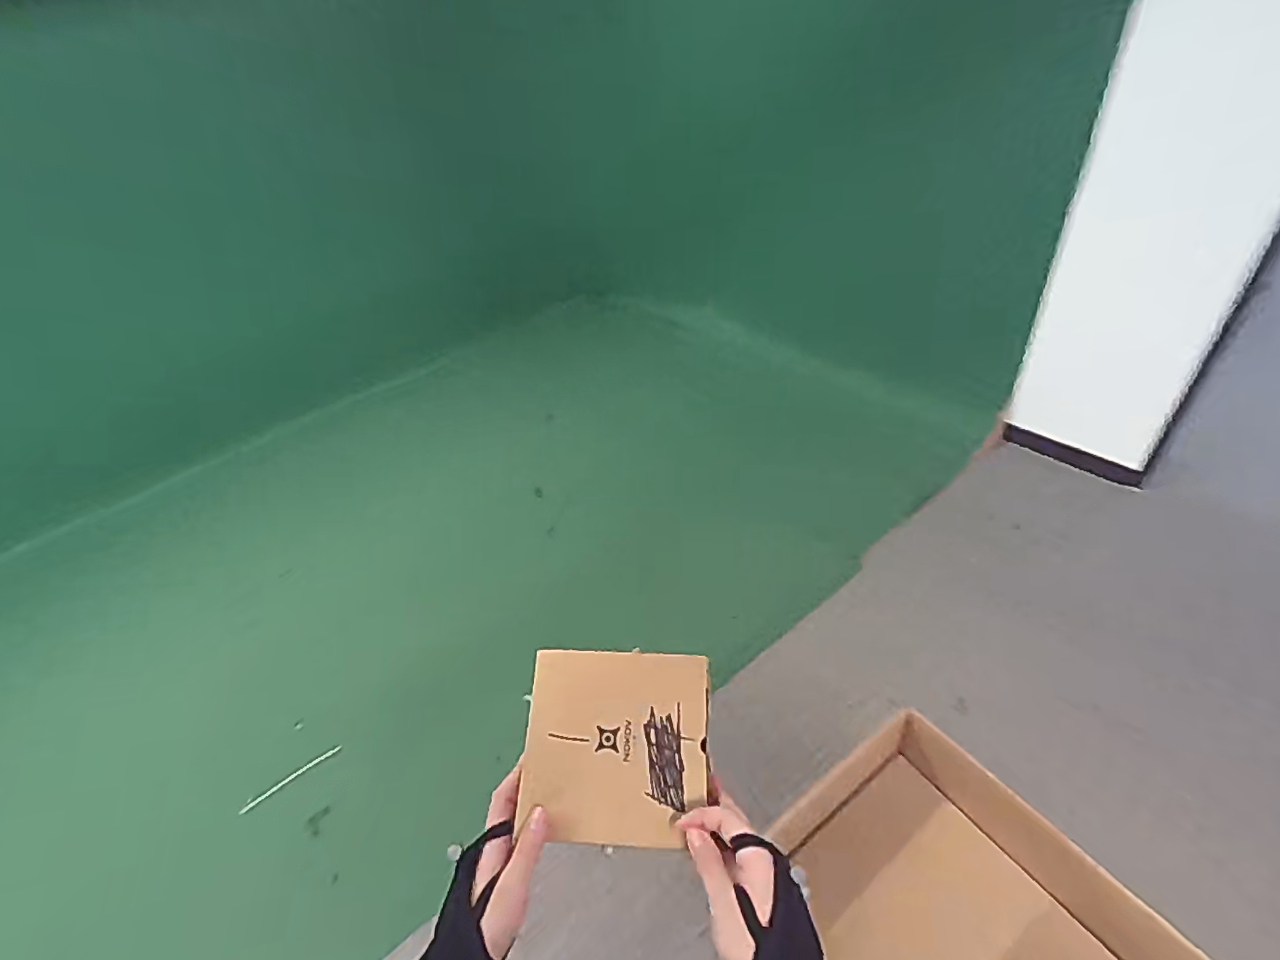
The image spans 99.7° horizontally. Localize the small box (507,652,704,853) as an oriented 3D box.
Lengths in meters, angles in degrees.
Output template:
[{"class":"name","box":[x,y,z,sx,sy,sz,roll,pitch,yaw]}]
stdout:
[{"class":"small box","box":[-0.024,0.288,0.581,0.179,0.176,0.168,0,61,4]}]
